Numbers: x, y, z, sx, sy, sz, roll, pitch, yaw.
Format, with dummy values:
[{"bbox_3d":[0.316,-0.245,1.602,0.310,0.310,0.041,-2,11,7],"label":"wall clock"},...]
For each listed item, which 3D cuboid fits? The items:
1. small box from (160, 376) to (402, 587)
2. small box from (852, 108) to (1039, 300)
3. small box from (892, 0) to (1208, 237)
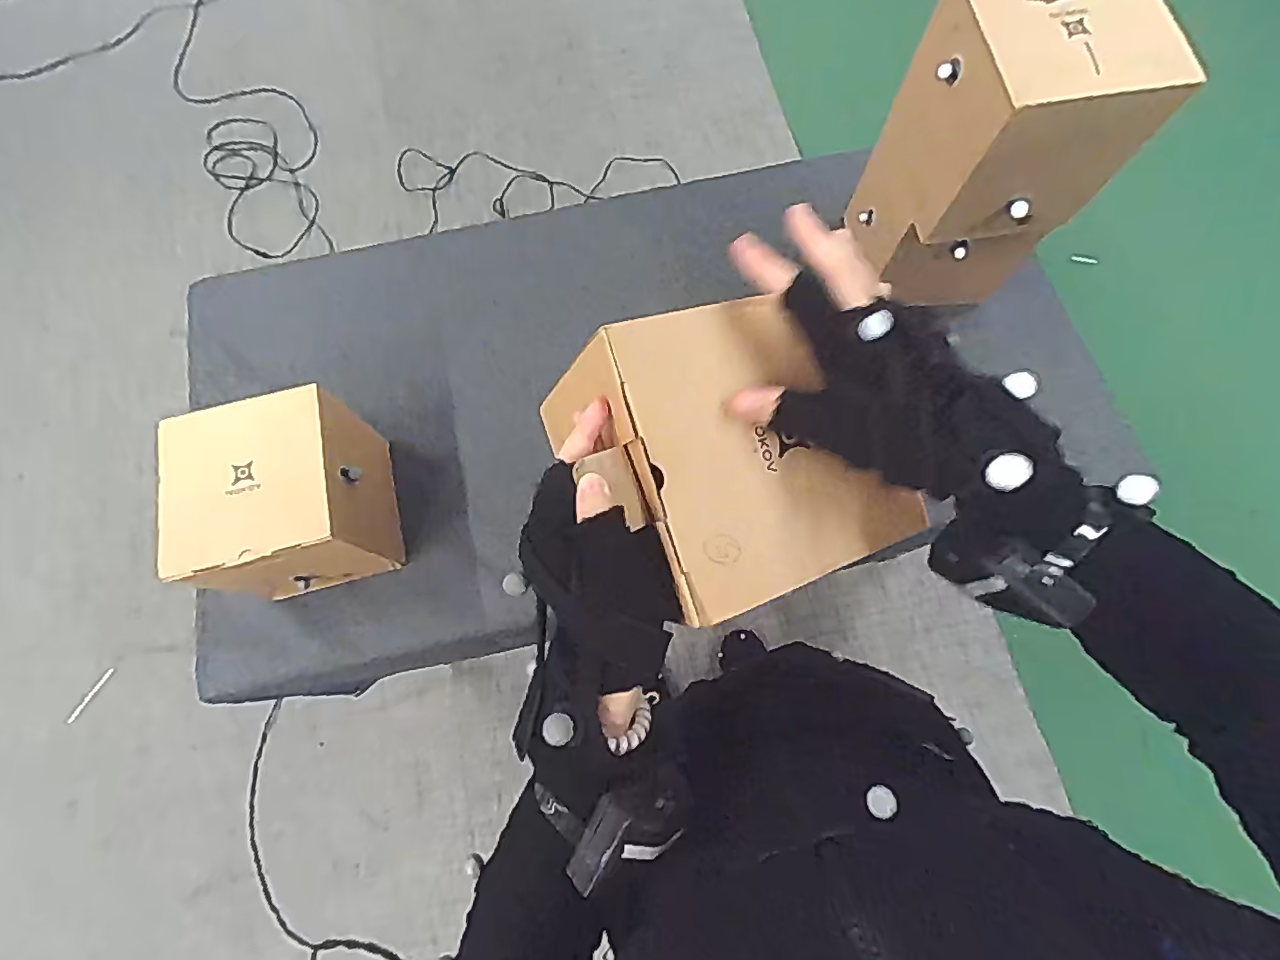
[{"bbox_3d":[-0.394,0.011,0.618,0.168,0.176,0.179,-14,74,-4],"label":"small box"},{"bbox_3d":[0.393,-0.353,0.709,0.179,0.176,0.168,-1,74,1],"label":"small box"},{"bbox_3d":[0.383,-0.381,0.547,0.168,0.176,0.179,-7,74,0],"label":"small box"}]
